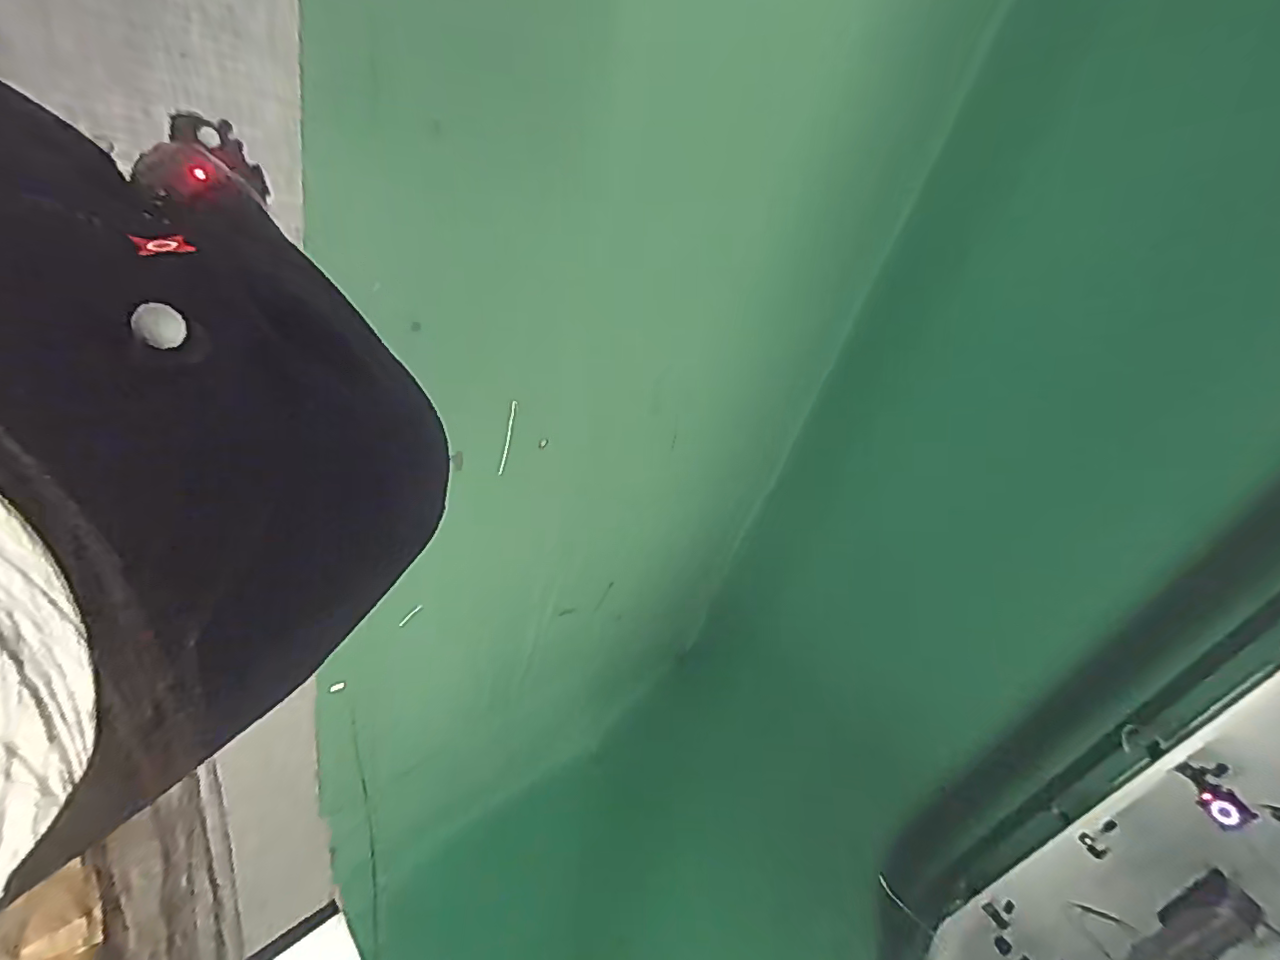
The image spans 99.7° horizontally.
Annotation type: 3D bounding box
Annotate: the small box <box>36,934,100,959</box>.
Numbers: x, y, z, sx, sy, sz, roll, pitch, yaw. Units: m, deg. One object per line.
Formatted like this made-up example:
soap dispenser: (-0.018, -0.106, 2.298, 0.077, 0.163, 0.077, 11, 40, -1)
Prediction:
small box: (-1.569, 1.385, 1.440, 0.179, 0.176, 0.168, -16, 129, -43)
